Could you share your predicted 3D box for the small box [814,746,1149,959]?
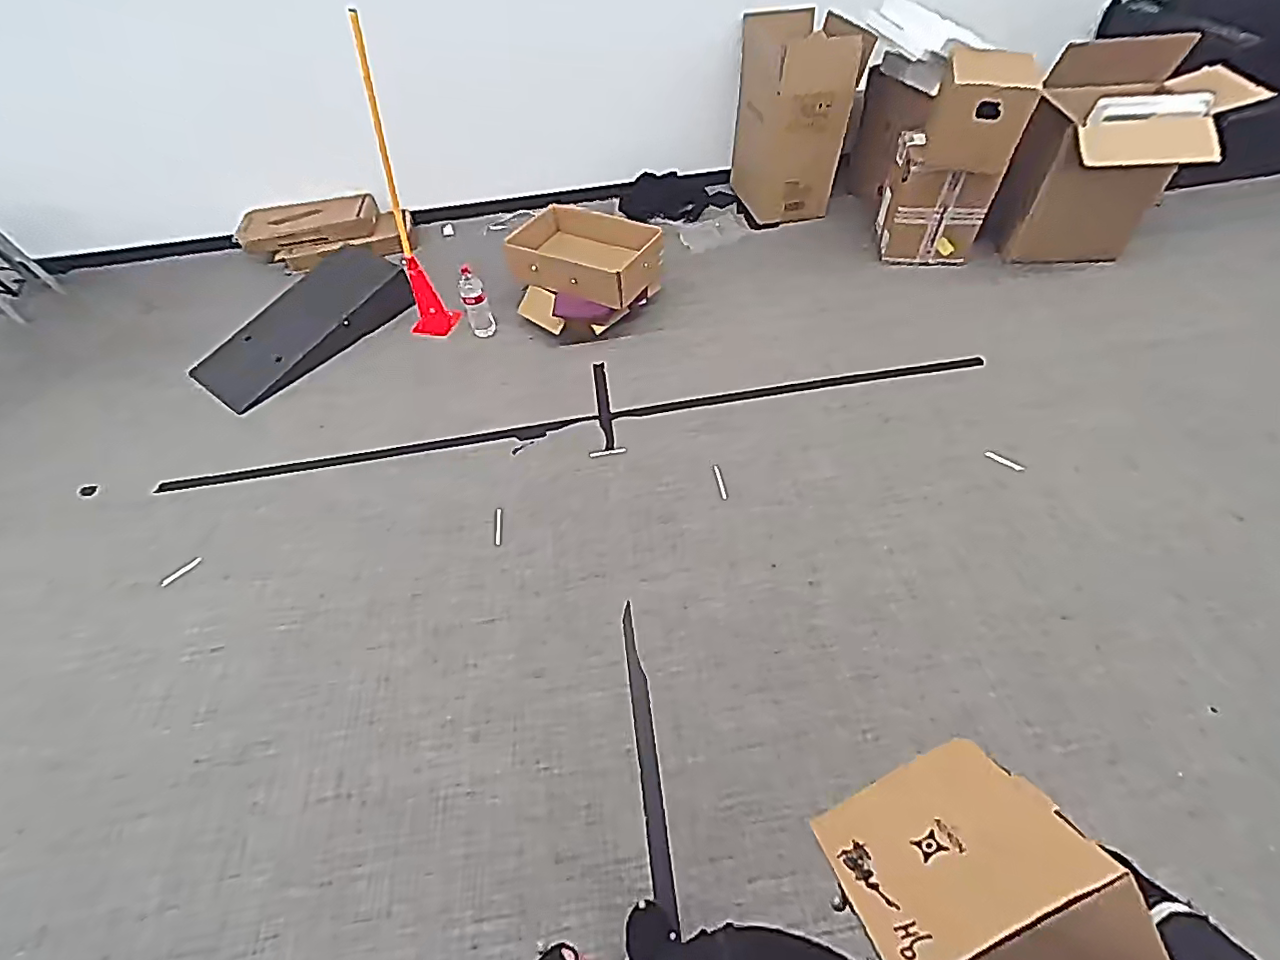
[{"bbox_3d":[0.285,0.377,0.458,0.179,0.168,0.176,-27,95,-2],"label":"small box"}]
